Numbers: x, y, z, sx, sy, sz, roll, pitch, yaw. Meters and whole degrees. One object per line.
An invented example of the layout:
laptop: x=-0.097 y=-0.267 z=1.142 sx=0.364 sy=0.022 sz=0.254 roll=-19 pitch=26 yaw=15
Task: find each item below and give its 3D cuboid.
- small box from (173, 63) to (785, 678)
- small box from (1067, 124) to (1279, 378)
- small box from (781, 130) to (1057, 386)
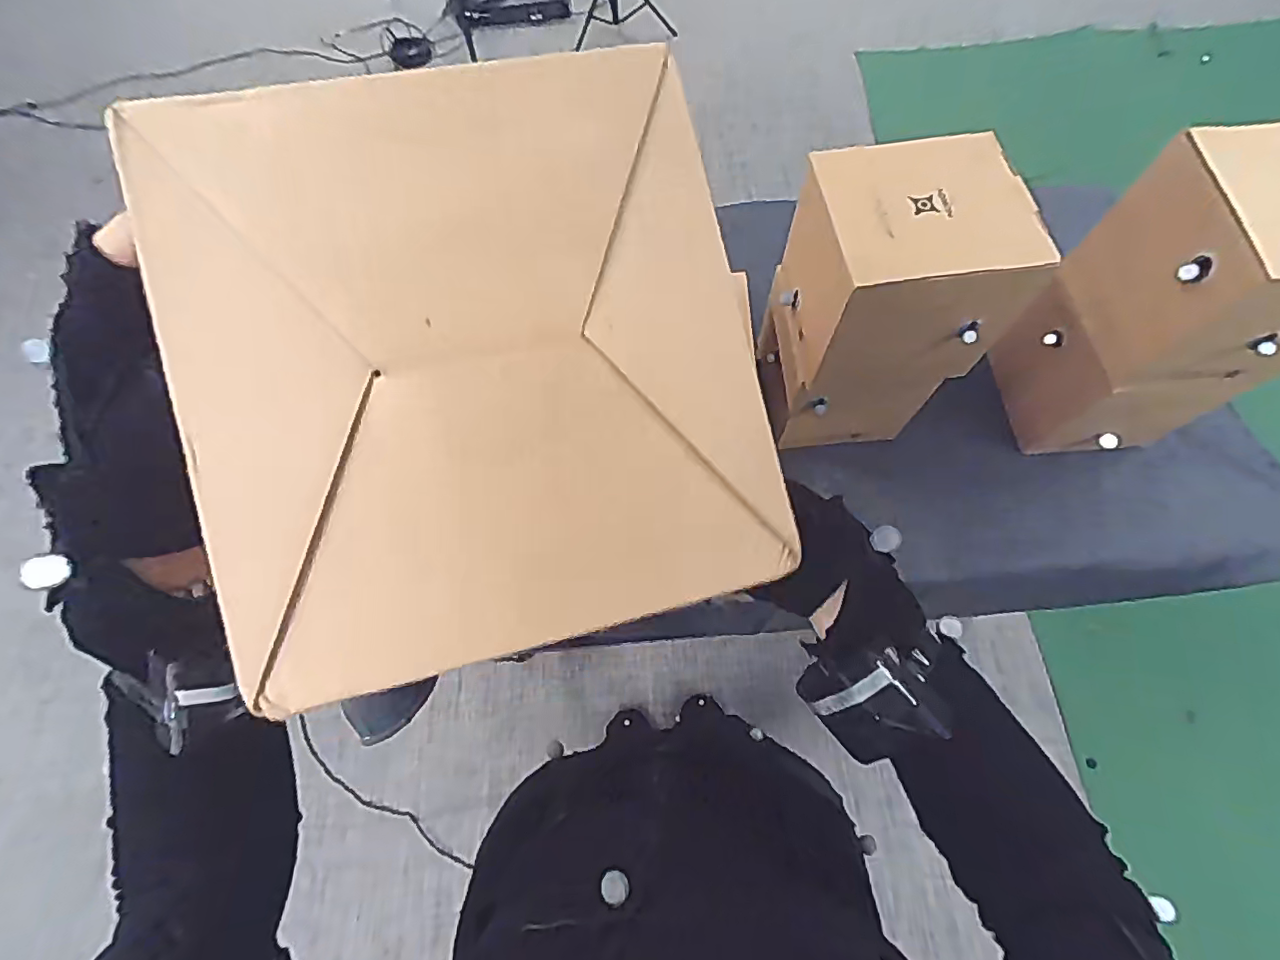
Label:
small box: x=-0.056 y=-0.038 z=0.244 sx=0.168 sy=0.176 sz=0.179 roll=-14 pitch=87 yaw=-9
small box: x=0.579 y=-0.212 z=0.533 sx=0.168 sy=0.176 sz=0.179 roll=-2 pitch=68 yaw=2
small box: x=0.259 y=-0.214 z=0.552 sx=0.179 sy=0.176 sz=0.168 roll=-6 pitch=67 yaw=1
